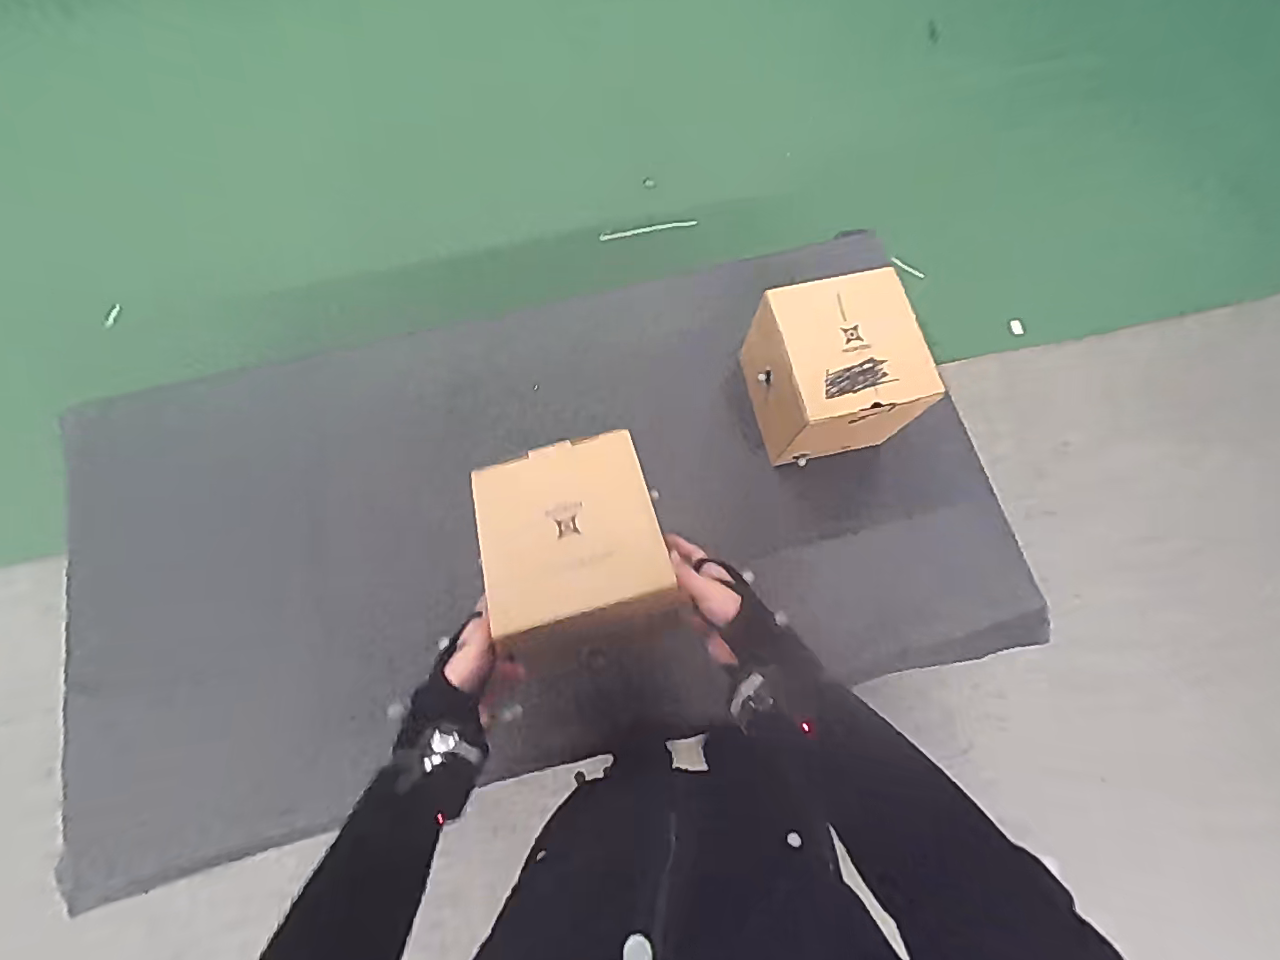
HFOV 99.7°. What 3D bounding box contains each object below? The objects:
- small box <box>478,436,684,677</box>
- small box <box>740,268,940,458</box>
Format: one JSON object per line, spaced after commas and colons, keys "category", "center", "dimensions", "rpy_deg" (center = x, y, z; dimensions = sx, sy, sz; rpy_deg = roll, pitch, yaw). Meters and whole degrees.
{"category": "small box", "center": [-0.056, 0.086, 0.566], "dimensions": [0.168, 0.176, 0.179], "rpy_deg": [-15, 61, -3]}
{"category": "small box", "center": [0.242, -0.138, 0.704], "dimensions": [0.168, 0.176, 0.179], "rpy_deg": [-12, 75, -5]}
